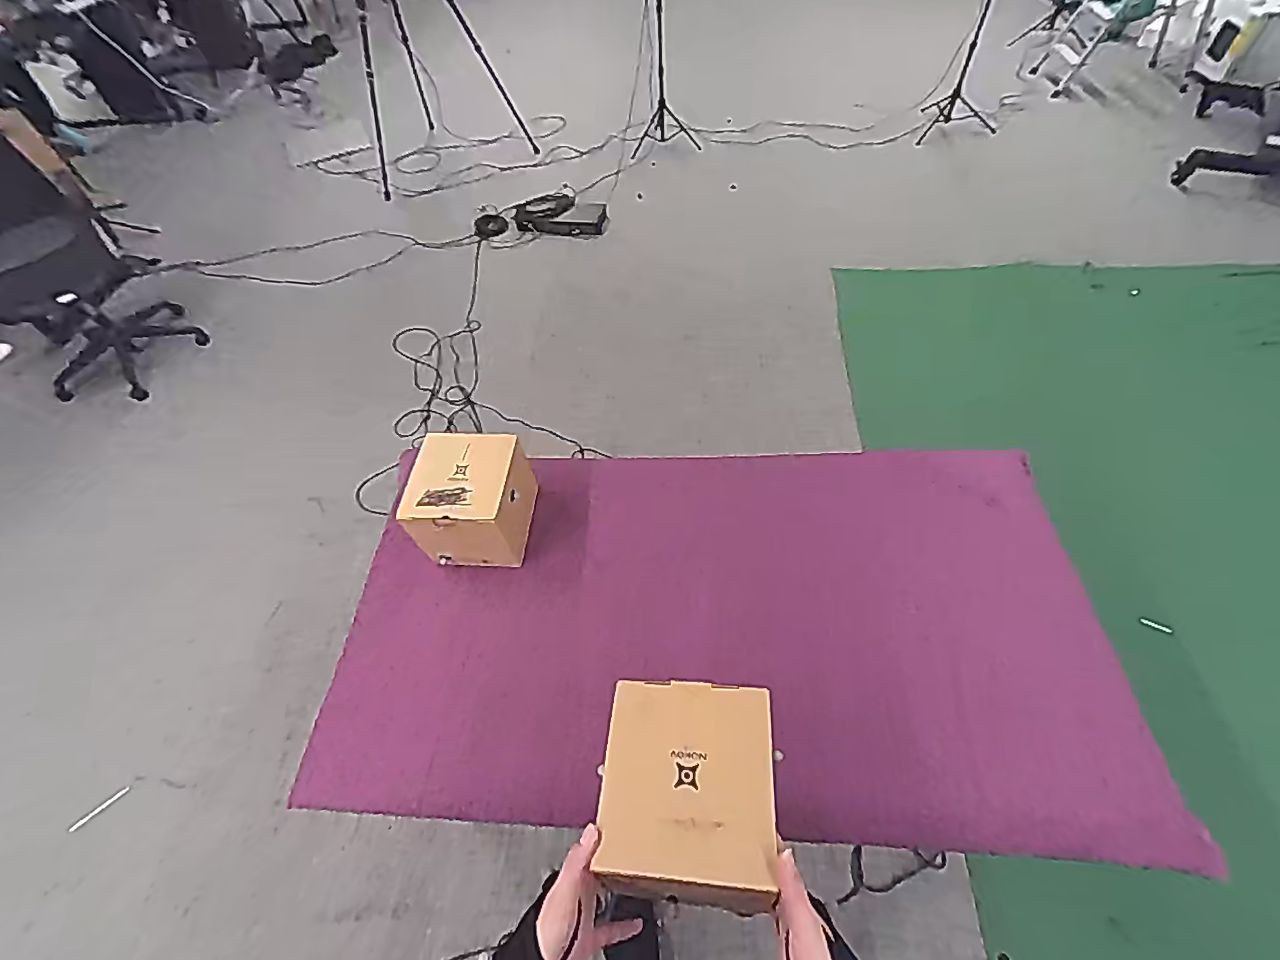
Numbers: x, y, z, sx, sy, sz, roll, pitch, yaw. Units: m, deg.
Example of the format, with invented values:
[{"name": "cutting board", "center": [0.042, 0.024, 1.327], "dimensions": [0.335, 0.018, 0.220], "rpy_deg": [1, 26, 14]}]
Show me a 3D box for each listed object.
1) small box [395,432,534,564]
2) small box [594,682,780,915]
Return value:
[{"name": "small box", "center": [-0.292, 0.035, 0.945], "dimensions": [0.168, 0.176, 0.179], "rpy_deg": [2, 56, 4]}, {"name": "small box", "center": [0.057, 0.341, 0.582], "dimensions": [0.168, 0.176, 0.179], "rpy_deg": [0, 48, 10]}]
